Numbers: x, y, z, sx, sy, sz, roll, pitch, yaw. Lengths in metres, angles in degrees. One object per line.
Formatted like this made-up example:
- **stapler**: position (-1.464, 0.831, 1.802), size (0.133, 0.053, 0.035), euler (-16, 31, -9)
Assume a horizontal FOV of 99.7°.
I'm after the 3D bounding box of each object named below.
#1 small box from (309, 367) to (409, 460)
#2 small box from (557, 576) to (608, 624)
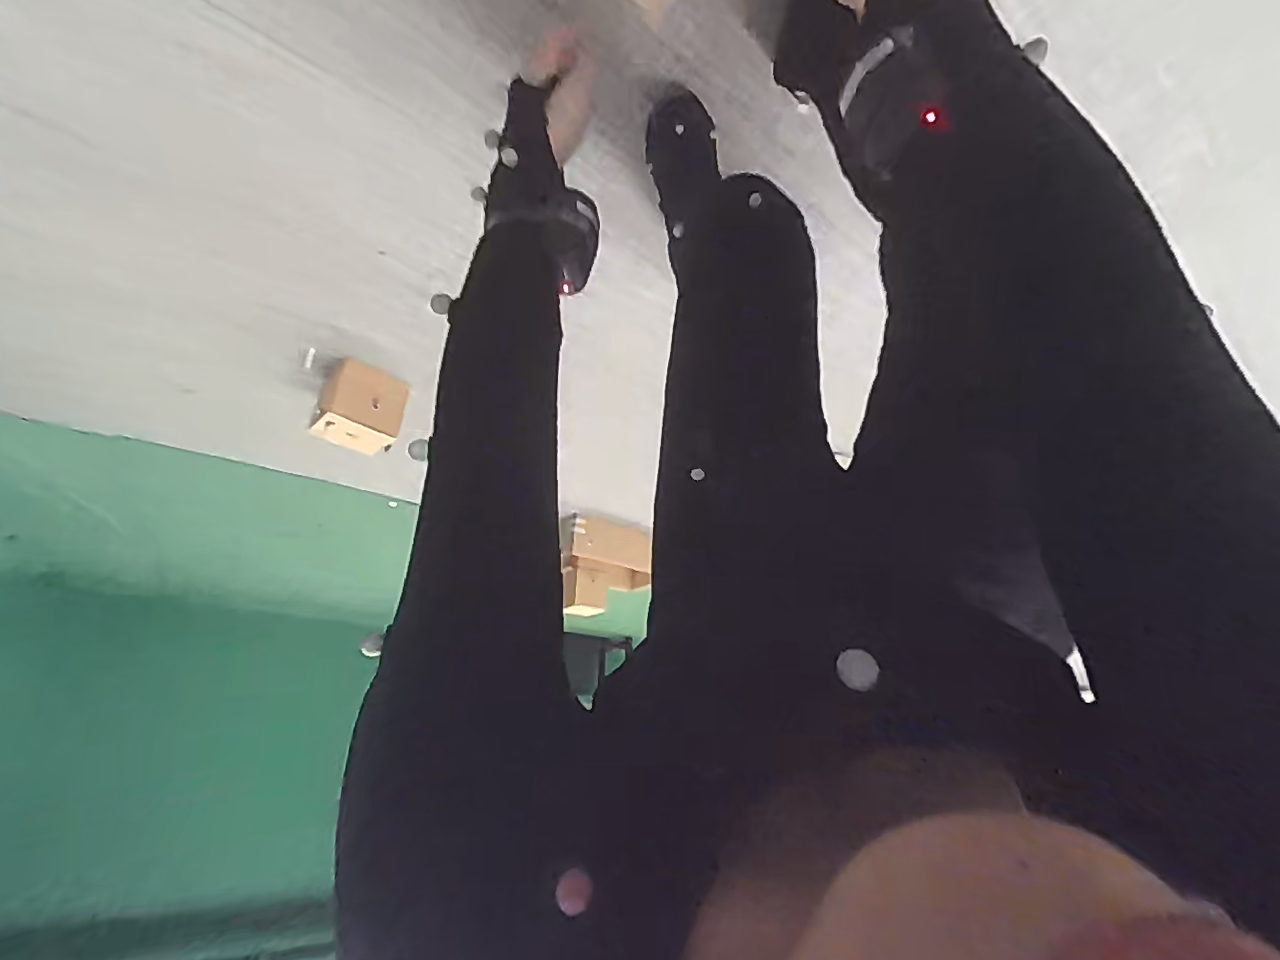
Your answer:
- **small box**: position (-0.750, -0.176, 1.455), size (0.168, 0.176, 0.179), euler (-20, 148, 38)
- **small box**: position (-0.253, 0.540, 2.422), size (0.168, 0.176, 0.179), euler (18, 149, -33)
